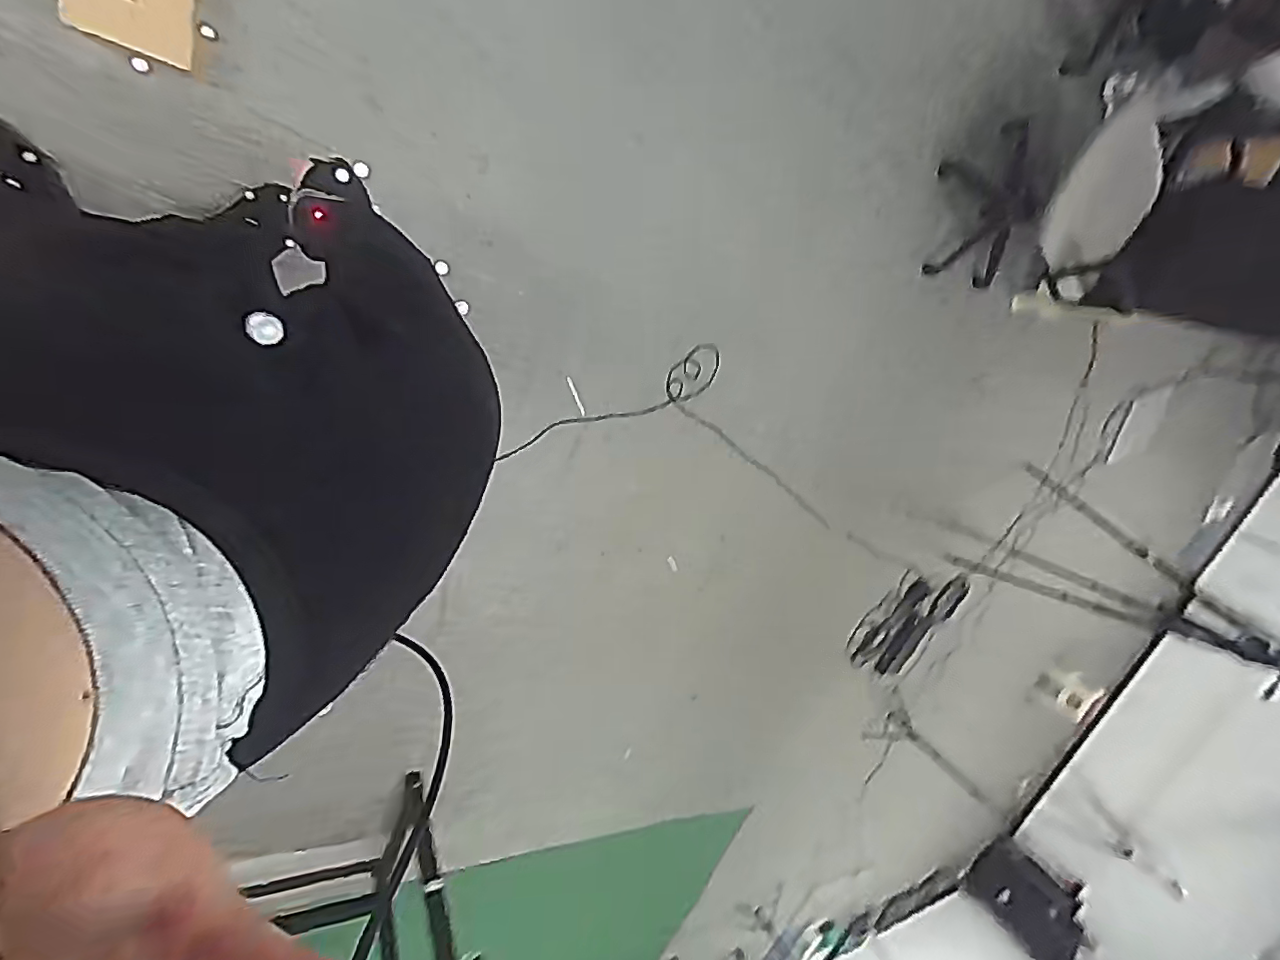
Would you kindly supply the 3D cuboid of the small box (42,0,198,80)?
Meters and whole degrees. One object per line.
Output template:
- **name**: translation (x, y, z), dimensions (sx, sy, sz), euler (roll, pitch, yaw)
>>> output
- **small box**: translation (-0.866, -0.819, 0.913), dimensions (0.168, 0.176, 0.179), euler (6, 112, -34)
